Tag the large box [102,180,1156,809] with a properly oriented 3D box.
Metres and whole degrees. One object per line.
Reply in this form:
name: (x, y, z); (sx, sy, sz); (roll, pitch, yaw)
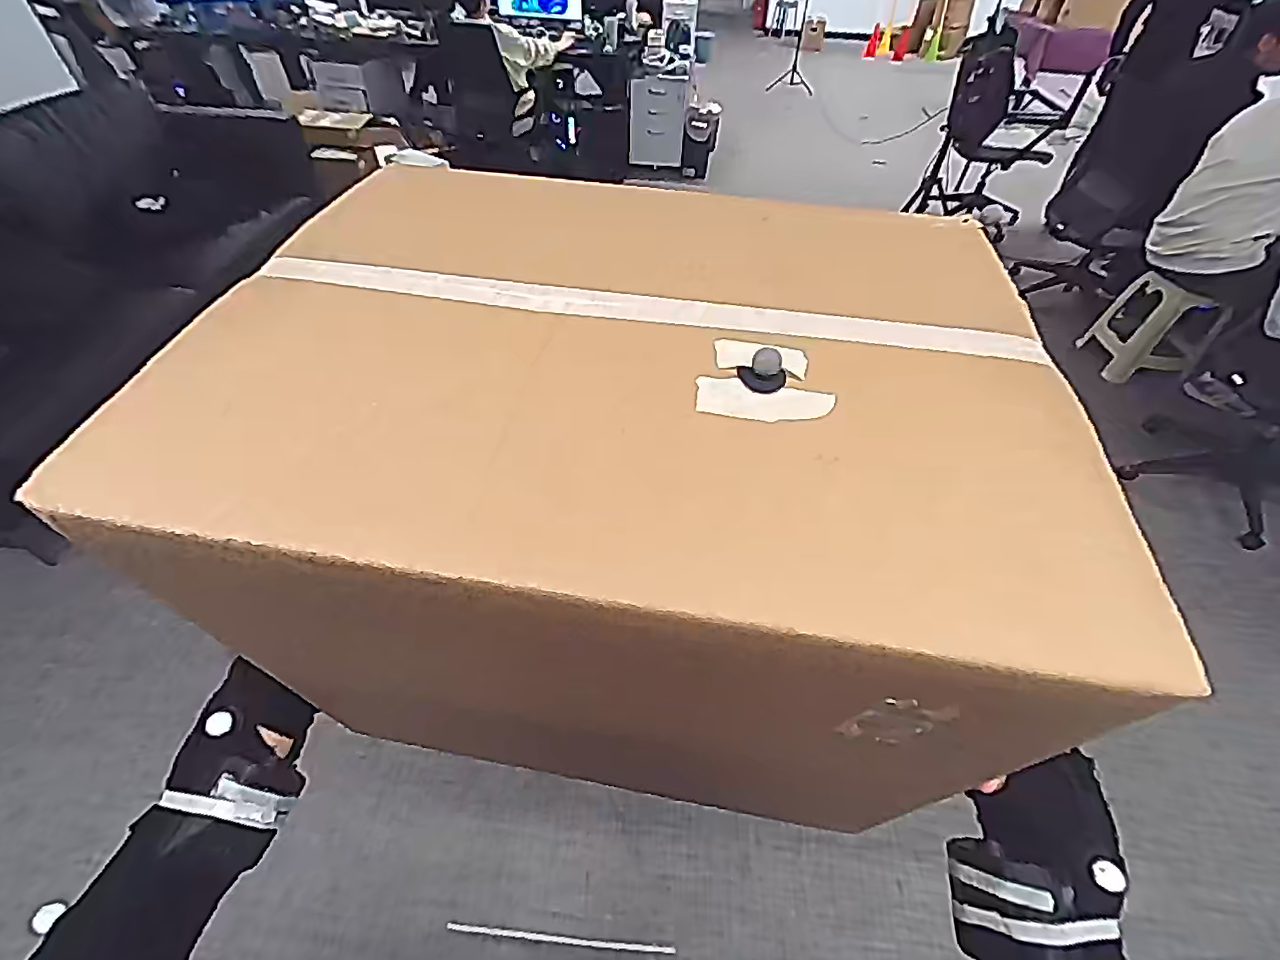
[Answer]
large box: (-0.001, 0.015, 0.405); (0.408, 0.320, 0.320); (9, 52, 5)
